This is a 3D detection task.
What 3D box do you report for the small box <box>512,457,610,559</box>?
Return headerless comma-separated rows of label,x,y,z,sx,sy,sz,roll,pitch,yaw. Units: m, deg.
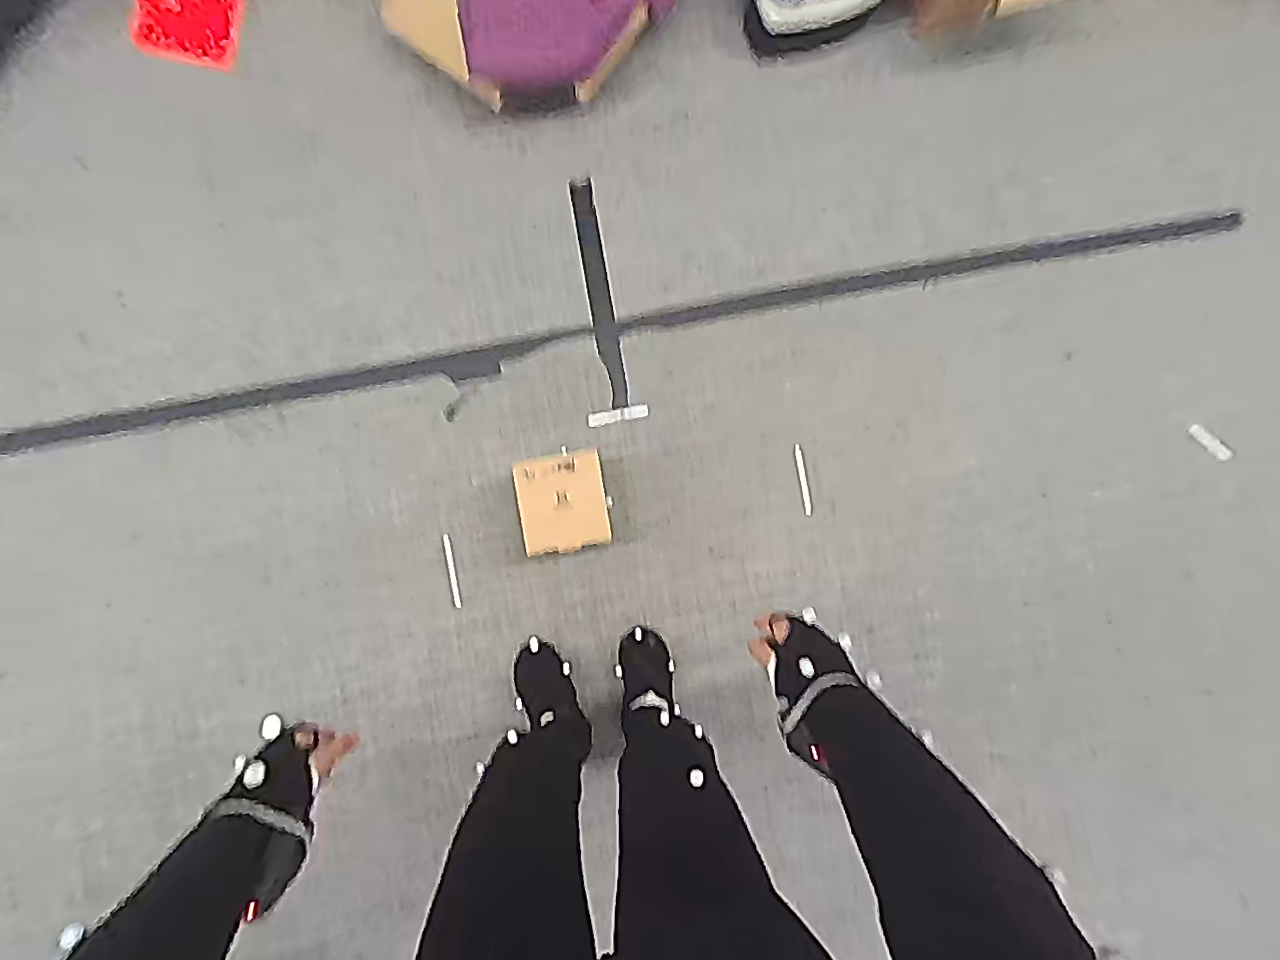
small box,-0.153,0.053,1.103,0.168,0.176,0.179,-9,89,-4
